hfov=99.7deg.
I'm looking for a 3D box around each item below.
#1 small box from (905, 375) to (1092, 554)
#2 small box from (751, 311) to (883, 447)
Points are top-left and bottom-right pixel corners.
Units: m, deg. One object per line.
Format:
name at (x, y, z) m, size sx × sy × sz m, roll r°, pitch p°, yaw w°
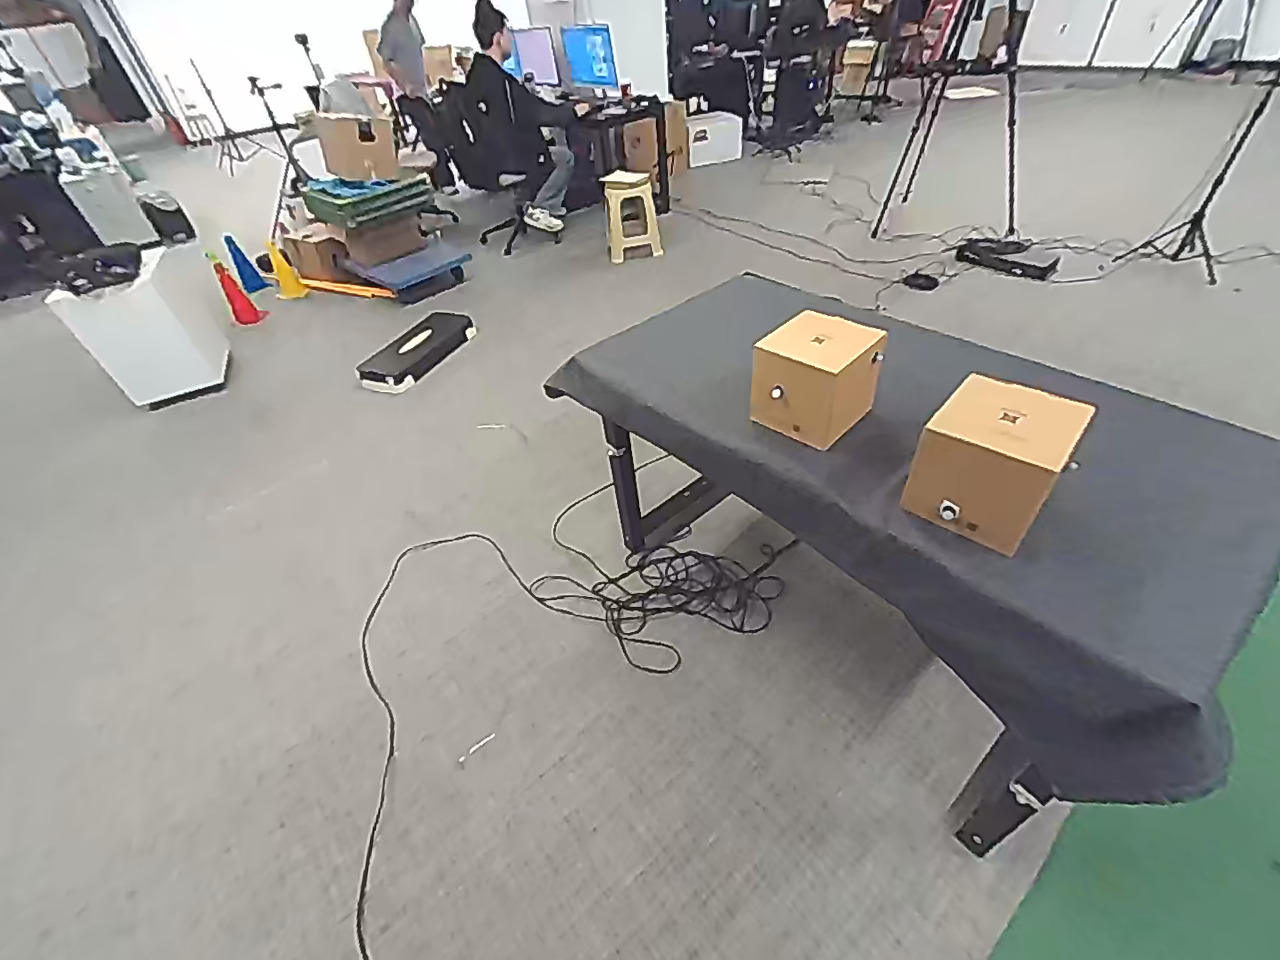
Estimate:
small box at (0.521, -0.026, 0.806) m, size 0.168 × 0.176 × 0.179 m, roll 28°, pitch 53°, yaw 34°
small box at (0.323, -0.187, 1.008) m, size 0.168 × 0.176 × 0.179 m, roll 30°, pitch 53°, yaw 34°
